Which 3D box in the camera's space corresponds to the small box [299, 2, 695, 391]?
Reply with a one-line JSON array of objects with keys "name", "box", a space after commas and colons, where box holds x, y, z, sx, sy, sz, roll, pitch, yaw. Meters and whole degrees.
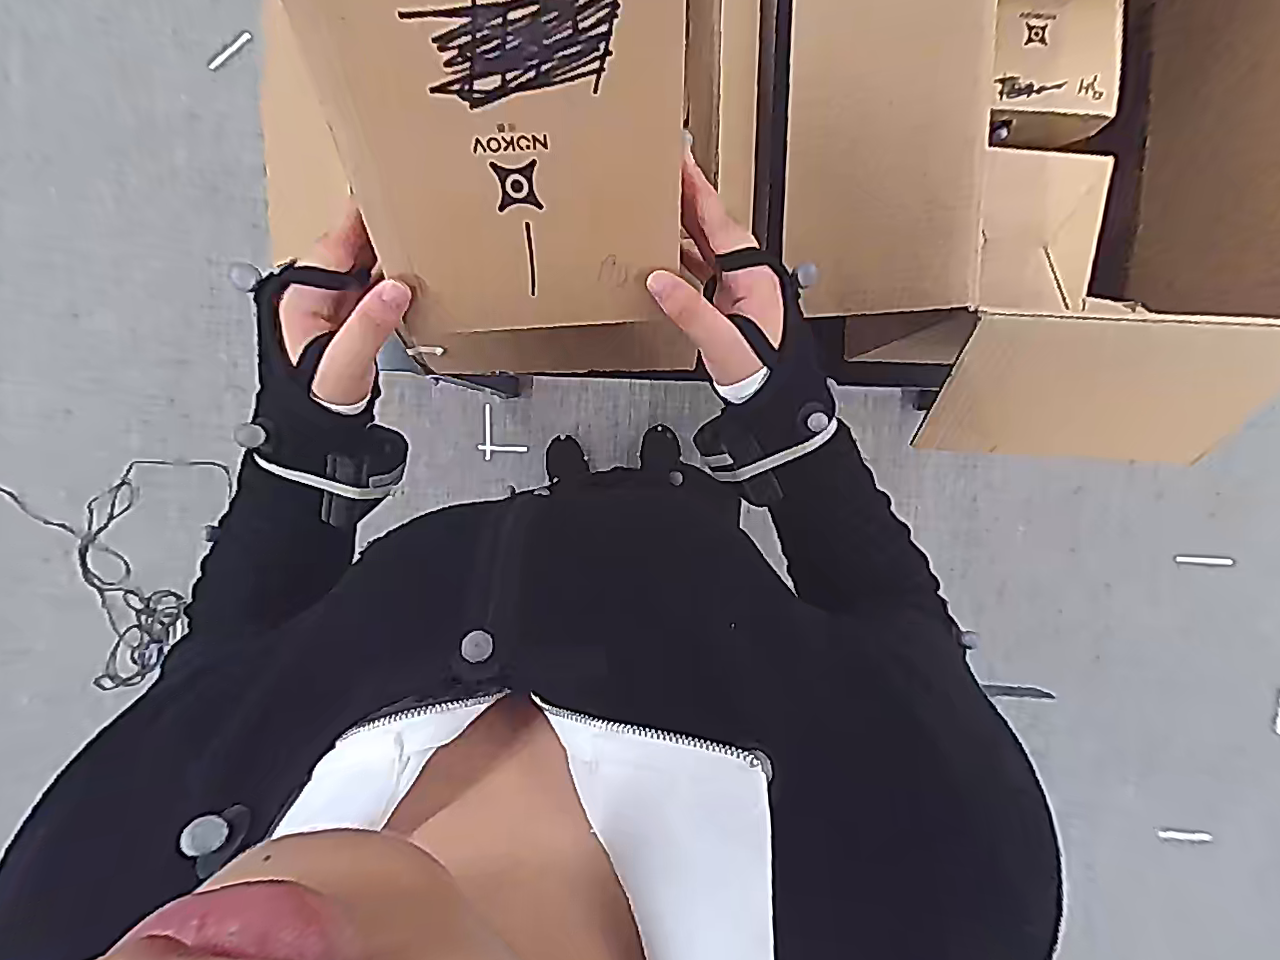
[{"name": "small box", "box": [-0.064, -0.178, 0.335, 0.168, 0.176, 0.179, -4, 134, -2]}]
